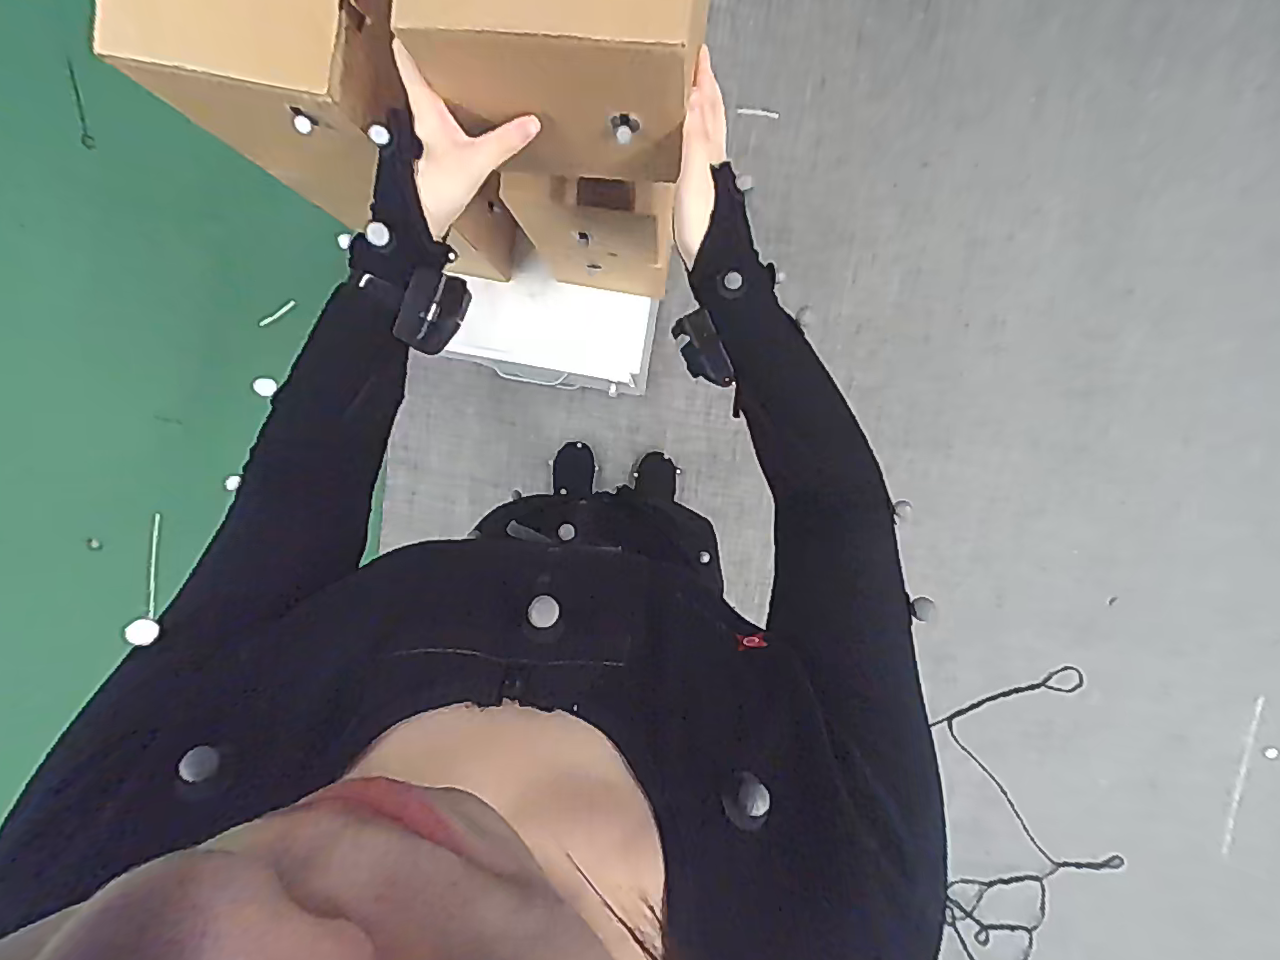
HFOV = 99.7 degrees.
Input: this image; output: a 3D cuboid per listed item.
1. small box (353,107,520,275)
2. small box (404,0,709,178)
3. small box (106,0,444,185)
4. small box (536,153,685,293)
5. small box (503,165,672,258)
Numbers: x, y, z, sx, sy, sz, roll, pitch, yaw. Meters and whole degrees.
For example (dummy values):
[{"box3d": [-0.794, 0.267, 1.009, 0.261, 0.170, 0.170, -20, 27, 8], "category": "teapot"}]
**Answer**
[{"box3d": [-0.283, -0.415, 0.791, 0.179, 0.176, 0.168, 10, 96, -2], "category": "small box"}, {"box3d": [-0.041, -0.343, 0.391, 0.179, 0.176, 0.168, 6, 94, 5], "category": "small box"}, {"box3d": [-0.286, -0.382, 0.464, 0.179, 0.176, 0.168, 10, 95, -1], "category": "small box"}, {"box3d": [-0.037, -0.385, 0.789, 0.179, 0.176, 0.168, 10, 96, 0], "category": "small box"}, {"box3d": [-0.047, -0.374, 0.624, 0.168, 0.176, 0.179, 8, 96, 1], "category": "small box"}]
